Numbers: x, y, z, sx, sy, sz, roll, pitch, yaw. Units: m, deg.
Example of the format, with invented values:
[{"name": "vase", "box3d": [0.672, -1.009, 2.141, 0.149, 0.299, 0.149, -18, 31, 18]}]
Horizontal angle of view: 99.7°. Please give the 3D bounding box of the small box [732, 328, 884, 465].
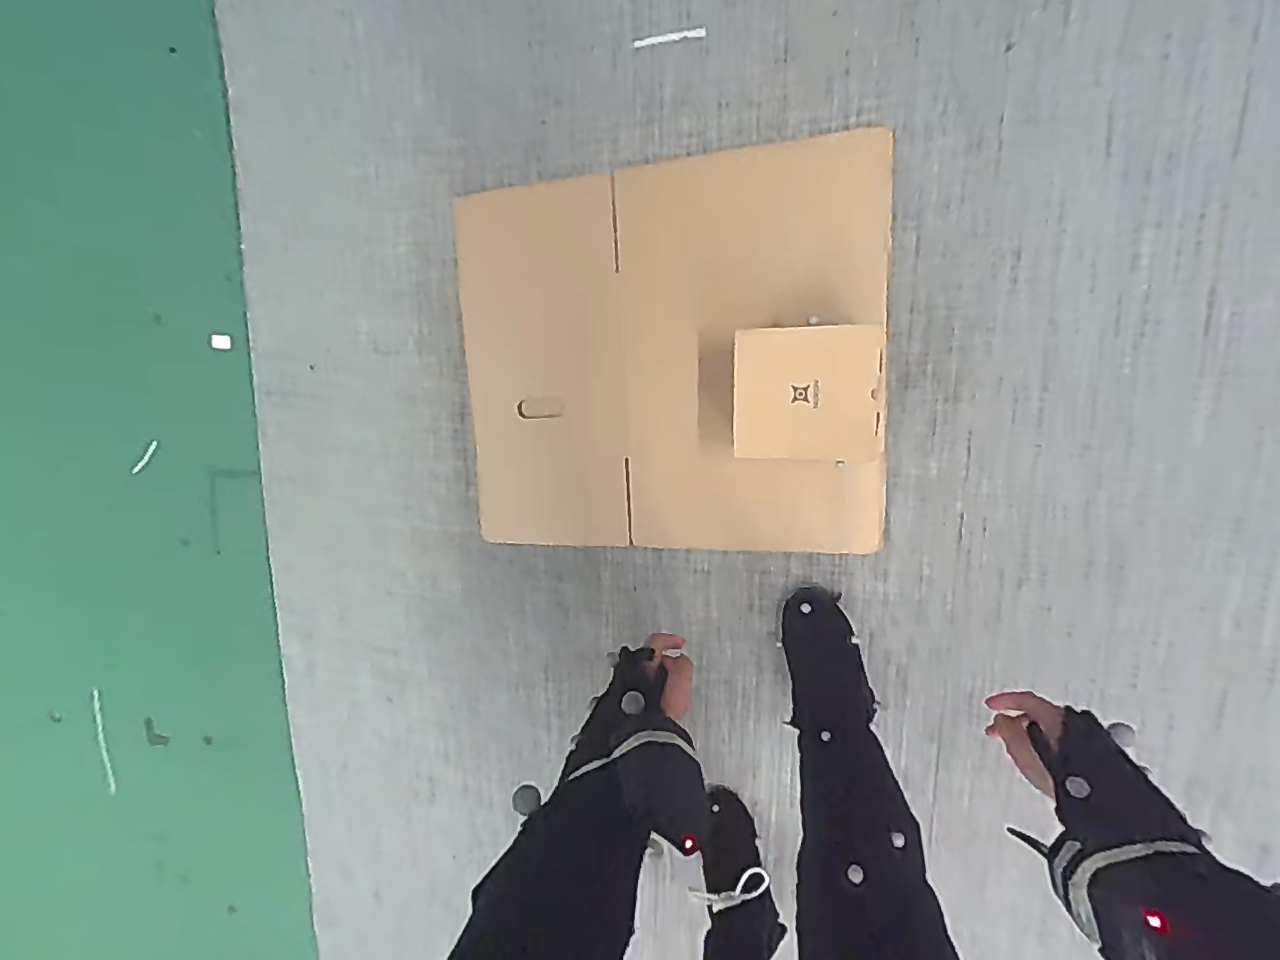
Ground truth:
[{"name": "small box", "box3d": [0.226, -0.112, 0.744, 0.179, 0.176, 0.168, 2, 98, 15]}]
